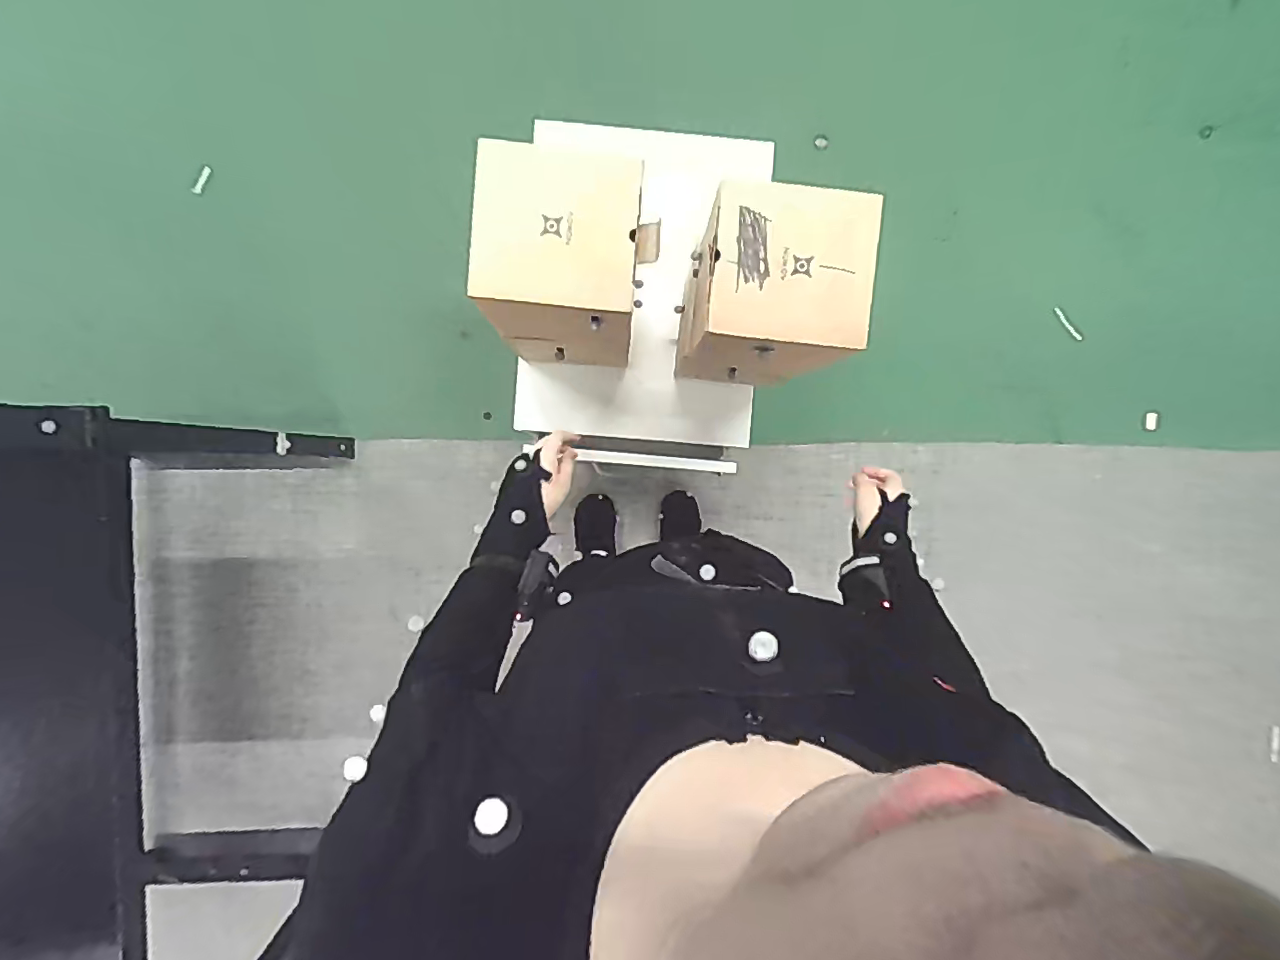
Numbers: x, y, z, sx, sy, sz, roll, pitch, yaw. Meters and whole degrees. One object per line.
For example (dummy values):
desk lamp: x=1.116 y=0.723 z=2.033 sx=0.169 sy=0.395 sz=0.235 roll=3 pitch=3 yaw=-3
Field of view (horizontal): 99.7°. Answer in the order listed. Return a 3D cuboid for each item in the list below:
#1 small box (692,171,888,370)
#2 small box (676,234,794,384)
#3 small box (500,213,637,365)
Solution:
small box: x=0.161 y=-0.231 z=0.639 sx=0.179 sy=0.176 sz=0.168 roll=6 pitch=92 yaw=-3
small box: x=0.152 y=-0.241 z=0.804 sx=0.179 sy=0.176 sz=0.168 roll=6 pitch=92 yaw=-2
small box: x=-0.097 y=-0.269 z=0.797 sx=0.179 sy=0.176 sz=0.168 roll=3 pitch=91 yaw=-2
